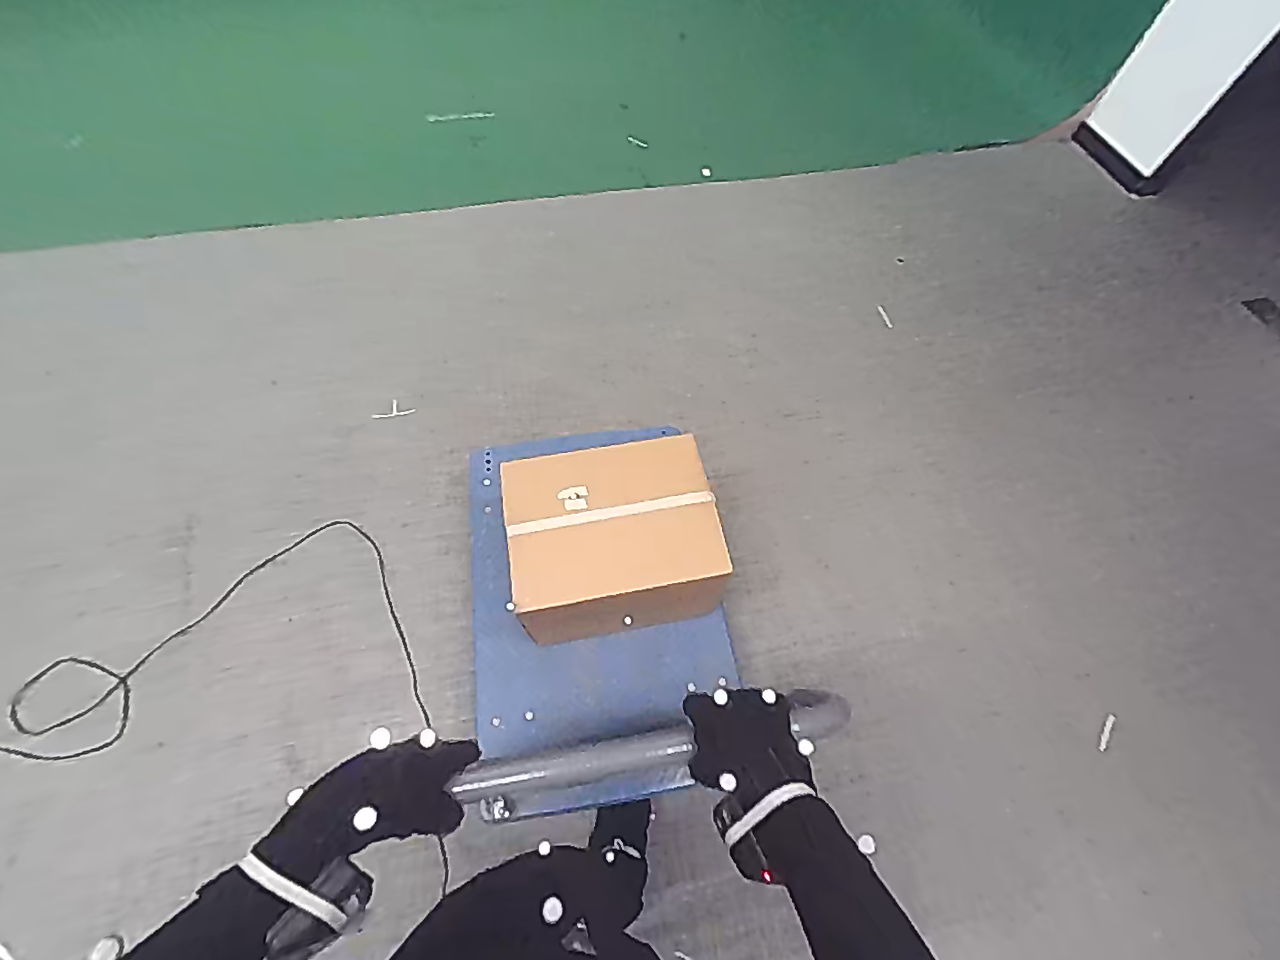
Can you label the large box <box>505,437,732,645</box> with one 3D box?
[{"bbox_3d":[-0.051,0.146,1.192,0.408,0.320,0.320,-11,63,-6],"label":"large box"}]
